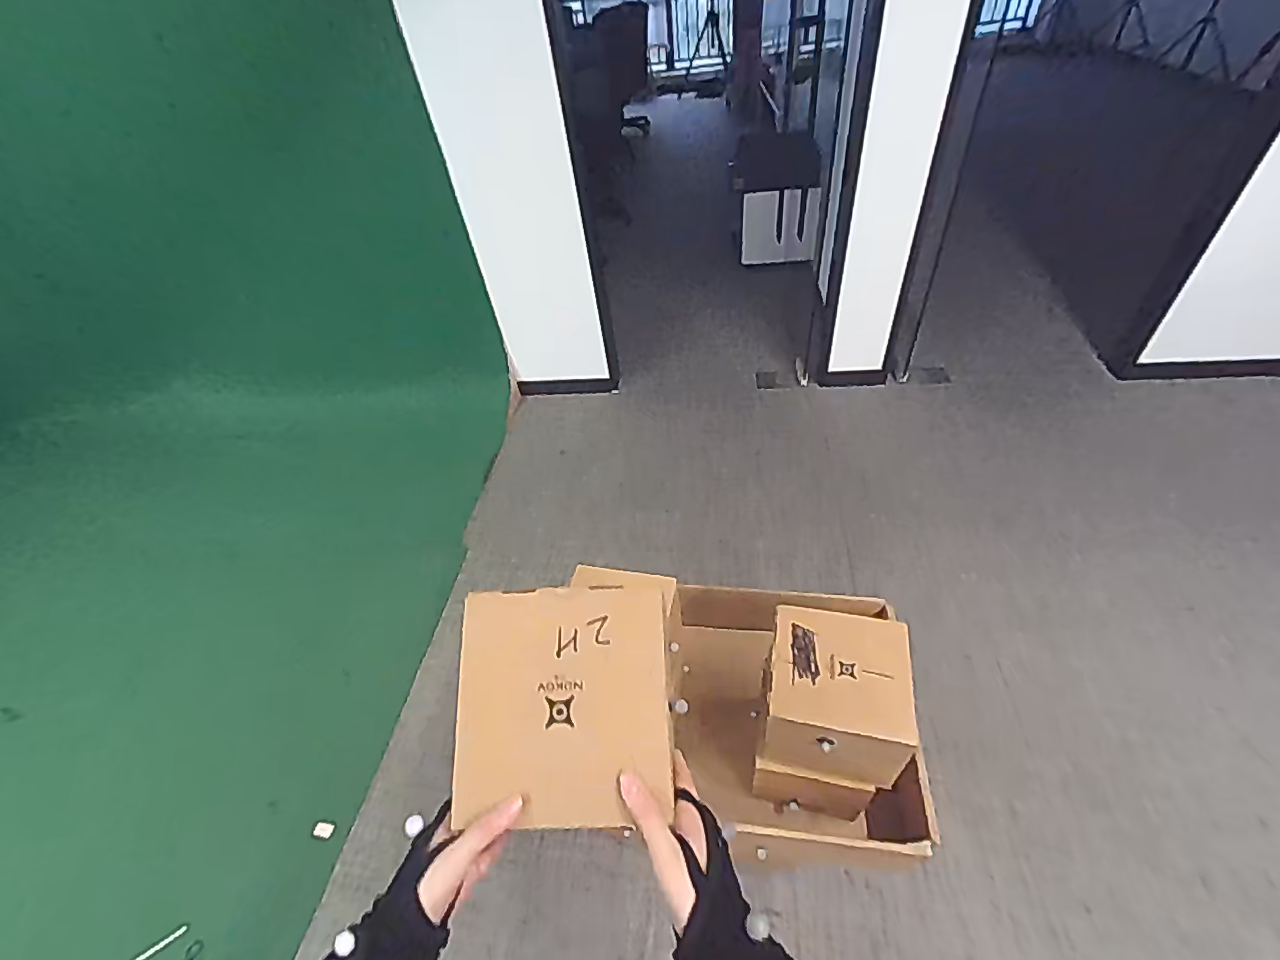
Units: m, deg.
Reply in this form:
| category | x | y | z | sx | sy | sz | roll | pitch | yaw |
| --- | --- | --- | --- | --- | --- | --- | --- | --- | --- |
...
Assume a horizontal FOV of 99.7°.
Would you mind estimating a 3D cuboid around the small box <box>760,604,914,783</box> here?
| category | x | y | z | sx | sy | sz | roll | pitch | yaw |
| --- | --- | --- | --- | --- | --- | --- | --- | --- | --- |
| small box | 0.267 | 0.301 | 0.761 | 0.179 | 0.176 | 0.168 | 6 | 47 | 14 |

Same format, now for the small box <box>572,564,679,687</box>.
| category | x | y | z | sx | sy | sz | roll | pitch | yaw |
| --- | --- | --- | --- | --- | --- | --- | --- | --- | --- |
| small box | -0.035 | 0.260 | 0.848 | 0.168 | 0.176 | 0.179 | 6 | 46 | 14 |

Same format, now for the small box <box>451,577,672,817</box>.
| category | x | y | z | sx | sy | sz | roll | pitch | yaw |
| --- | --- | --- | --- | --- | --- | --- | --- | --- | --- |
| small box | -0.057 | 0.193 | 0.502 | 0.168 | 0.176 | 0.179 | -3 | 70 | 3 |
